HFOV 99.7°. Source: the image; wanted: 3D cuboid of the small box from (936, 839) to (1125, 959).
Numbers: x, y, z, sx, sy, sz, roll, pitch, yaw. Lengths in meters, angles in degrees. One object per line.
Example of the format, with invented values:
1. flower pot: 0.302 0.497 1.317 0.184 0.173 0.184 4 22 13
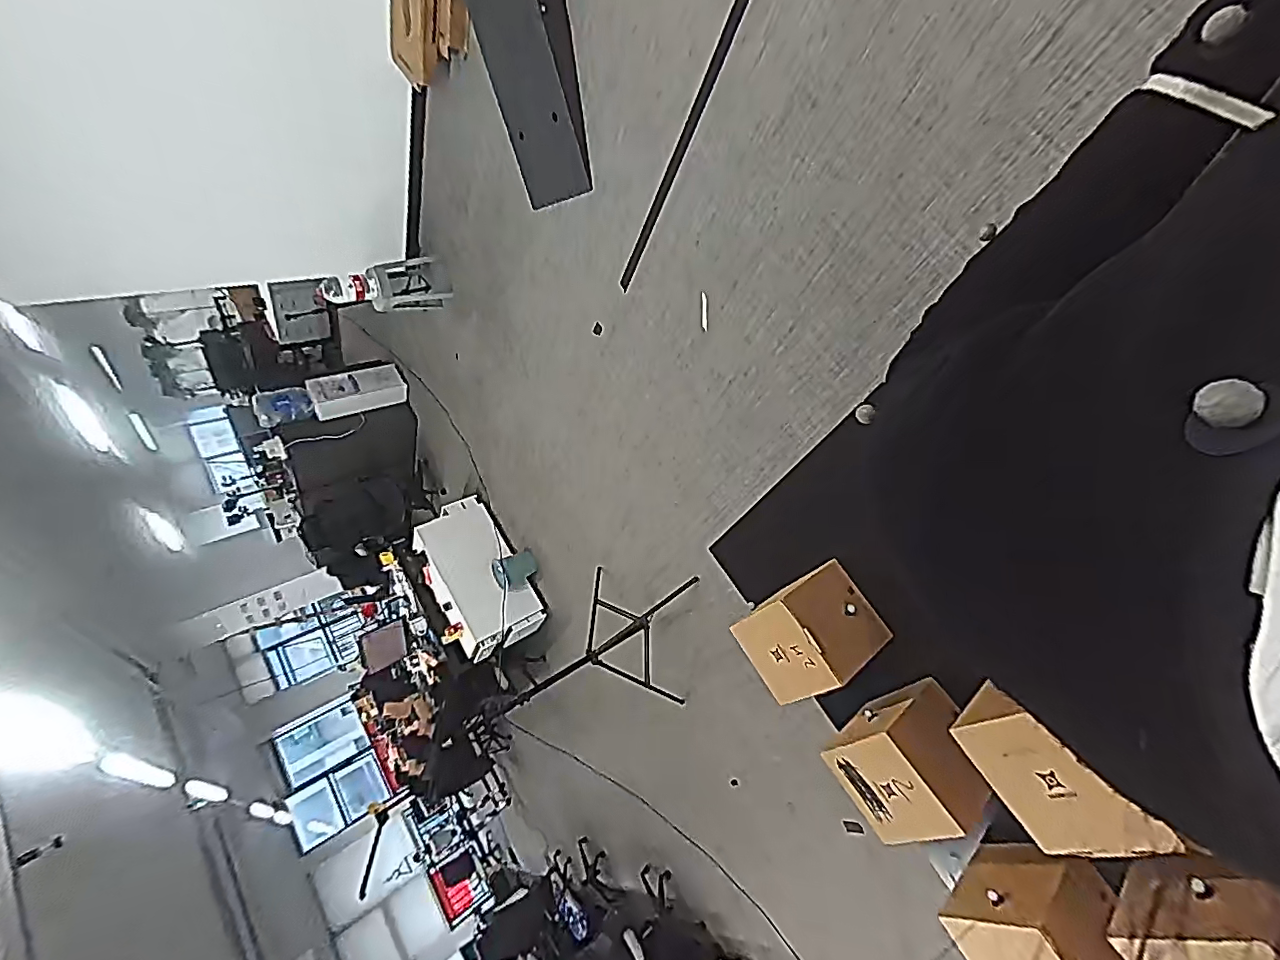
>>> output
1. small box: 0.604 0.677 0.818 0.168 0.176 0.179 56 143 16

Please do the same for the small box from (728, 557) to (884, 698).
1. small box: 0.303 0.268 0.991 0.168 0.176 0.179 56 144 15

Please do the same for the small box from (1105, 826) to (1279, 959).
1. small box: 0.693 0.527 0.611 0.168 0.176 0.179 51 142 22

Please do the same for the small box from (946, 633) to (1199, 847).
1. small box: 0.551 0.329 0.695 0.179 0.176 0.168 55 143 18
